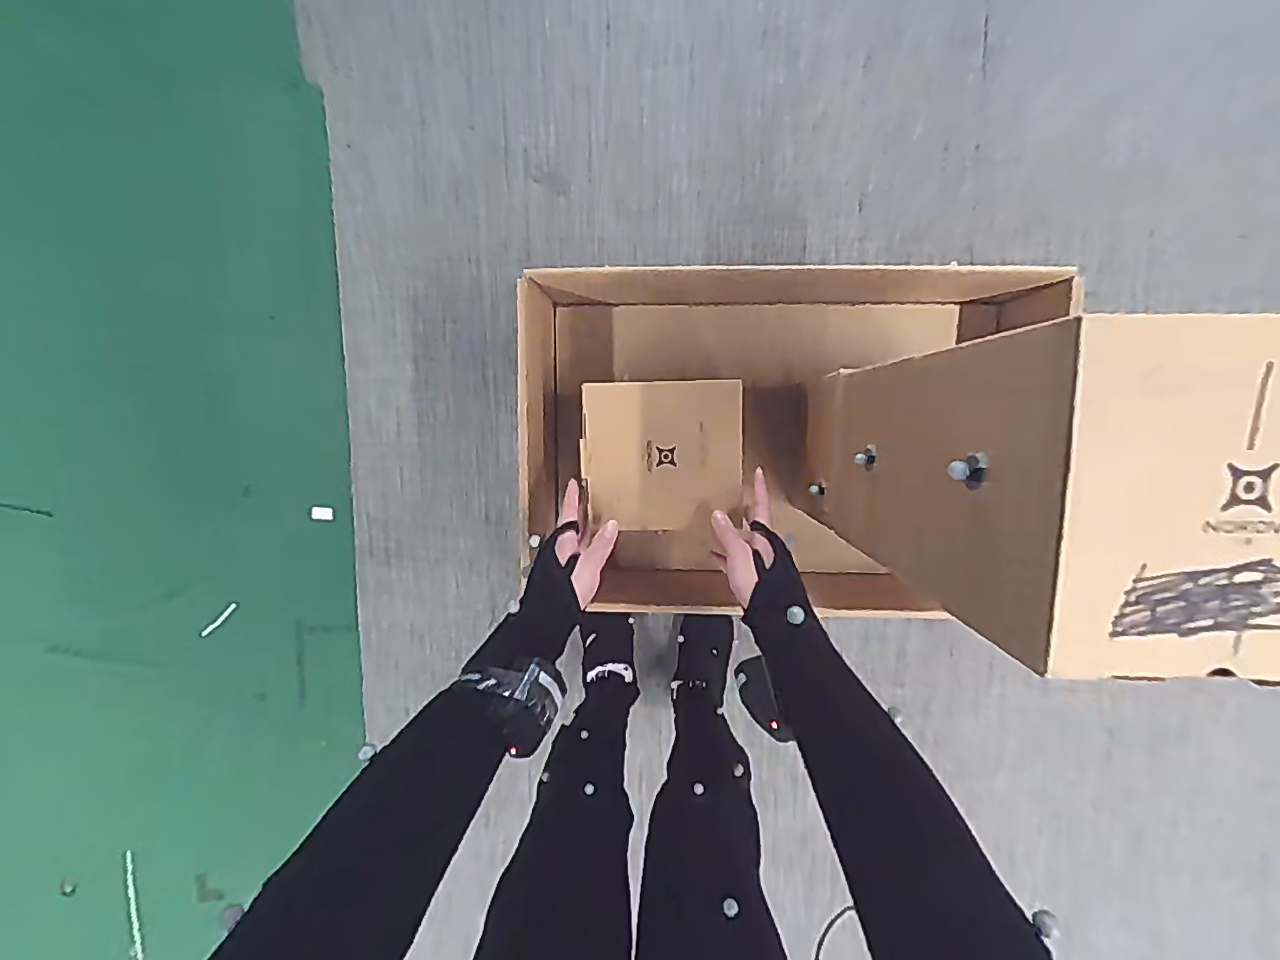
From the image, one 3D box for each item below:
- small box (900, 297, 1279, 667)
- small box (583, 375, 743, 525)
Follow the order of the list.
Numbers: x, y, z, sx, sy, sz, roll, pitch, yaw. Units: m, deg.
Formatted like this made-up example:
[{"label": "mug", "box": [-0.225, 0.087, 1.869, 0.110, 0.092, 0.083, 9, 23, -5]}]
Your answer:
[{"label": "small box", "box": [0.278, -0.005, 0.331, 0.168, 0.176, 0.179, 1, 96, 2]}, {"label": "small box", "box": [0.028, -0.040, 0.672, 0.179, 0.176, 0.168, 0, 97, 2]}]
